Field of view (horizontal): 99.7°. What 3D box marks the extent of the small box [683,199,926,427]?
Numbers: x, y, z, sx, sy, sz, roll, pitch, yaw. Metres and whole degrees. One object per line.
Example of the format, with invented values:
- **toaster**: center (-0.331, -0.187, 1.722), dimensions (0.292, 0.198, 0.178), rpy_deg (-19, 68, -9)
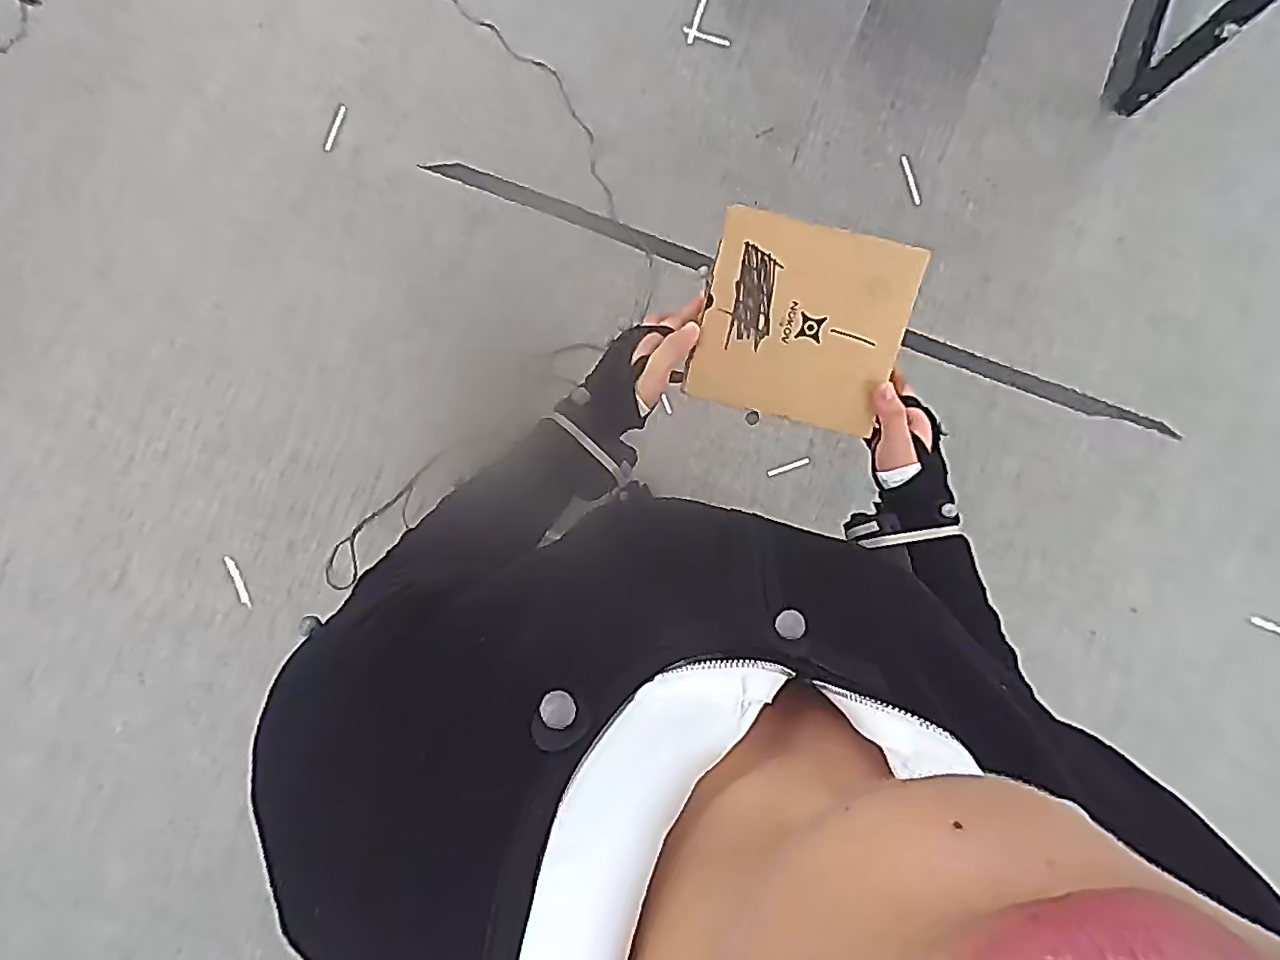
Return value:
- **small box**: center (0.147, -0.157, 0.554), dimensions (0.179, 0.176, 0.168), rpy_deg (14, 100, 1)
